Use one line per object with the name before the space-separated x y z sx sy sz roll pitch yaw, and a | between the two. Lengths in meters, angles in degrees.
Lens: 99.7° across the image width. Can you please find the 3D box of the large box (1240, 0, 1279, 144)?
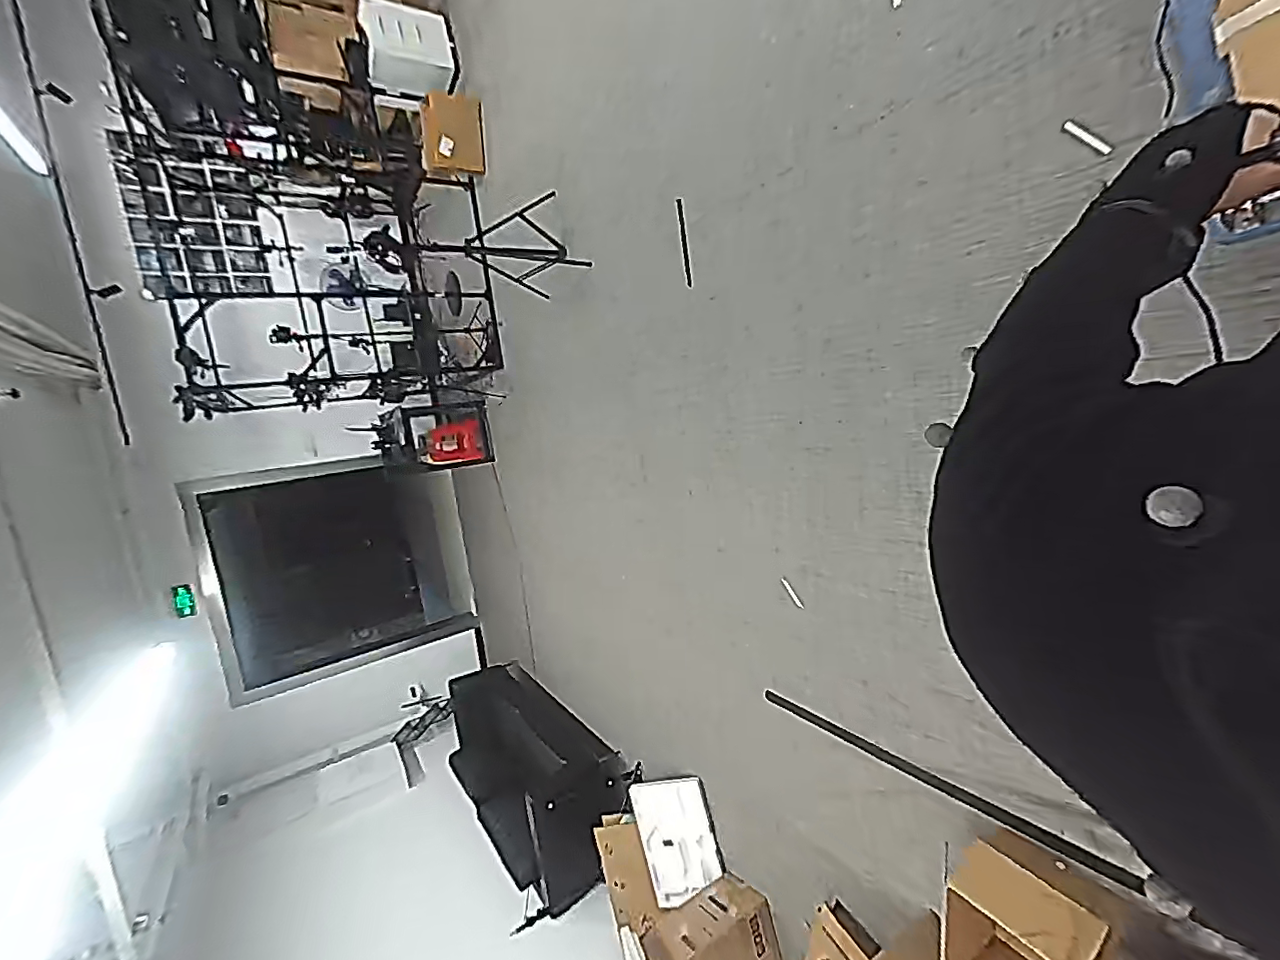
large box | 0.978 -0.617 0.584 0.408 0.320 0.320 -9 94 58
